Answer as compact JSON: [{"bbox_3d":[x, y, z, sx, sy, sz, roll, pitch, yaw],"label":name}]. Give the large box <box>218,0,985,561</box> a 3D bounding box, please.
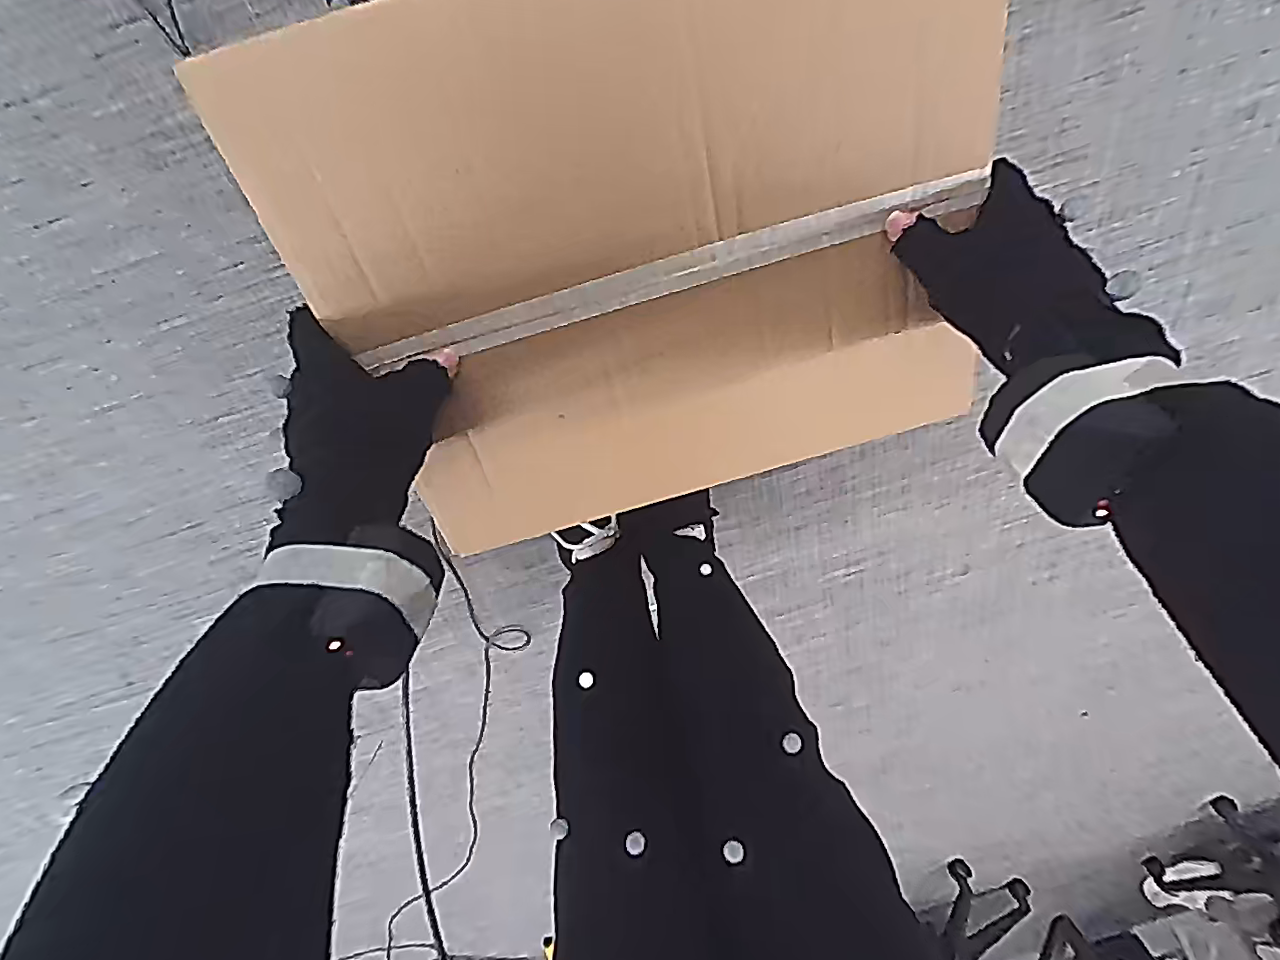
[{"bbox_3d":[-0.006,-0.190,0.465,0.408,0.320,0.320,-16,123,1],"label":"large box"}]
